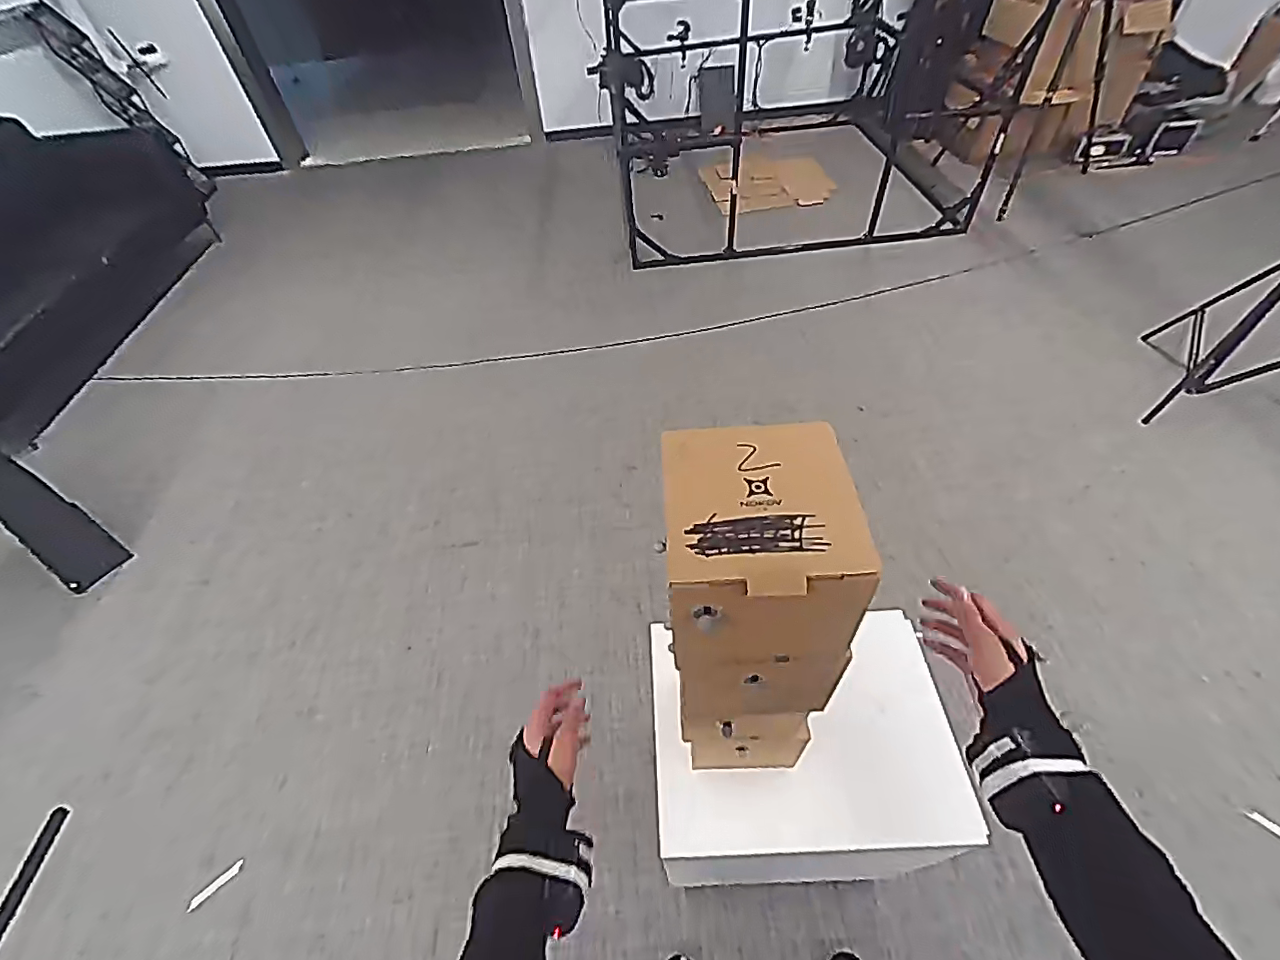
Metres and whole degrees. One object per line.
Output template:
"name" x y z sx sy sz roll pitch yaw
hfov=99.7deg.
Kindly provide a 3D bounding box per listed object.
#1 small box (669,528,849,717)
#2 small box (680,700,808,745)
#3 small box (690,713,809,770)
"small box" 0.129 0.177 0.656 0.179 0.176 0.168 -4 49 2
"small box" 0.141 0.274 0.789 0.168 0.176 0.179 -2 48 4
"small box" 0.170 0.379 0.911 0.179 0.176 0.168 -2 49 2
